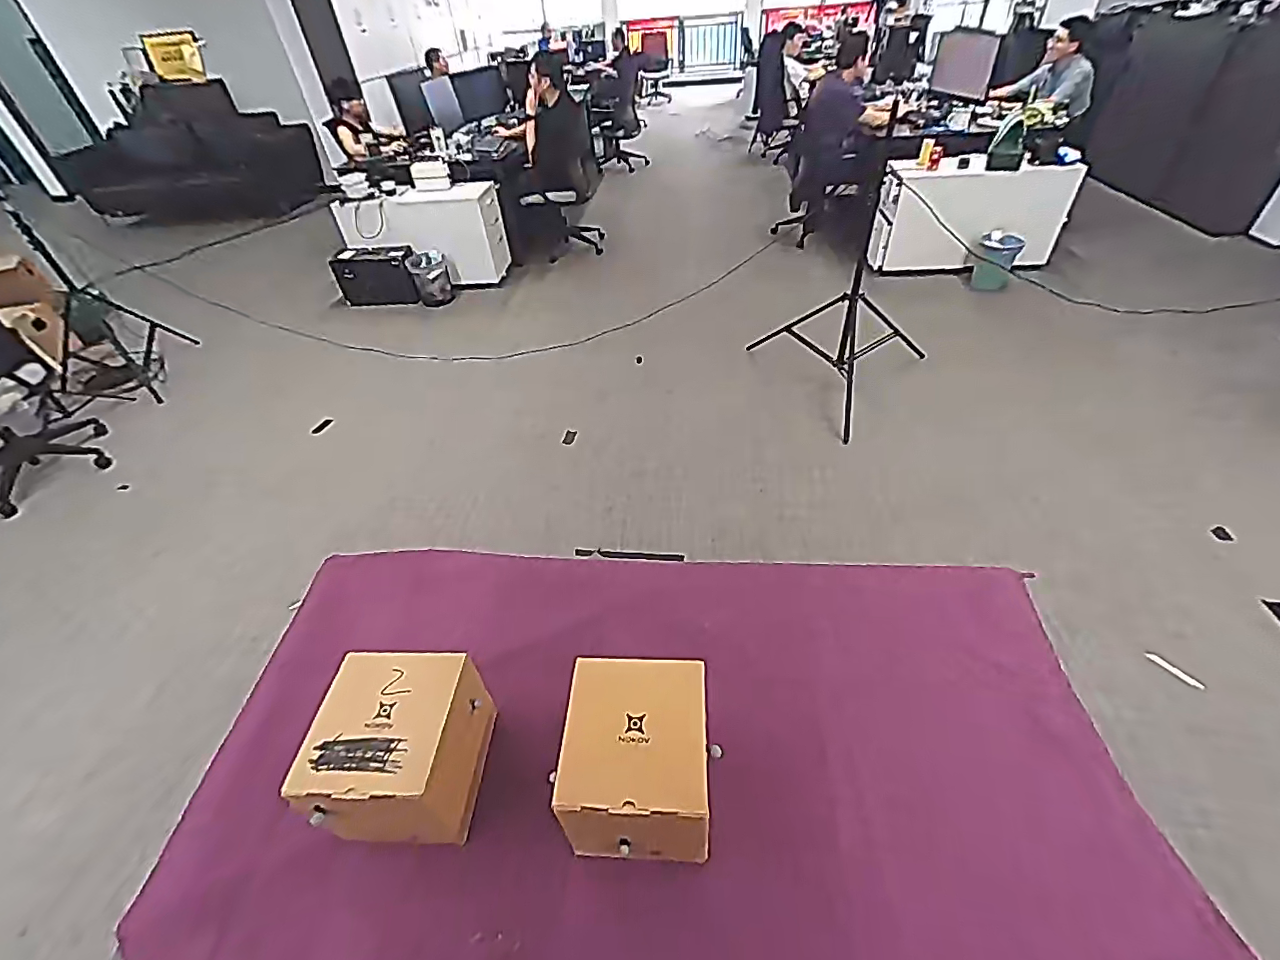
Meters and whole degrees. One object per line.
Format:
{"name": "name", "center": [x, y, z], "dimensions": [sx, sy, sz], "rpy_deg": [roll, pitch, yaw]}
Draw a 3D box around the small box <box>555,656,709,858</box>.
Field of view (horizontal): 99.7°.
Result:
{"name": "small box", "center": [0.000, 0.344, 0.678], "dimensions": [0.168, 0.176, 0.179], "rpy_deg": [-1, 42, 5]}
